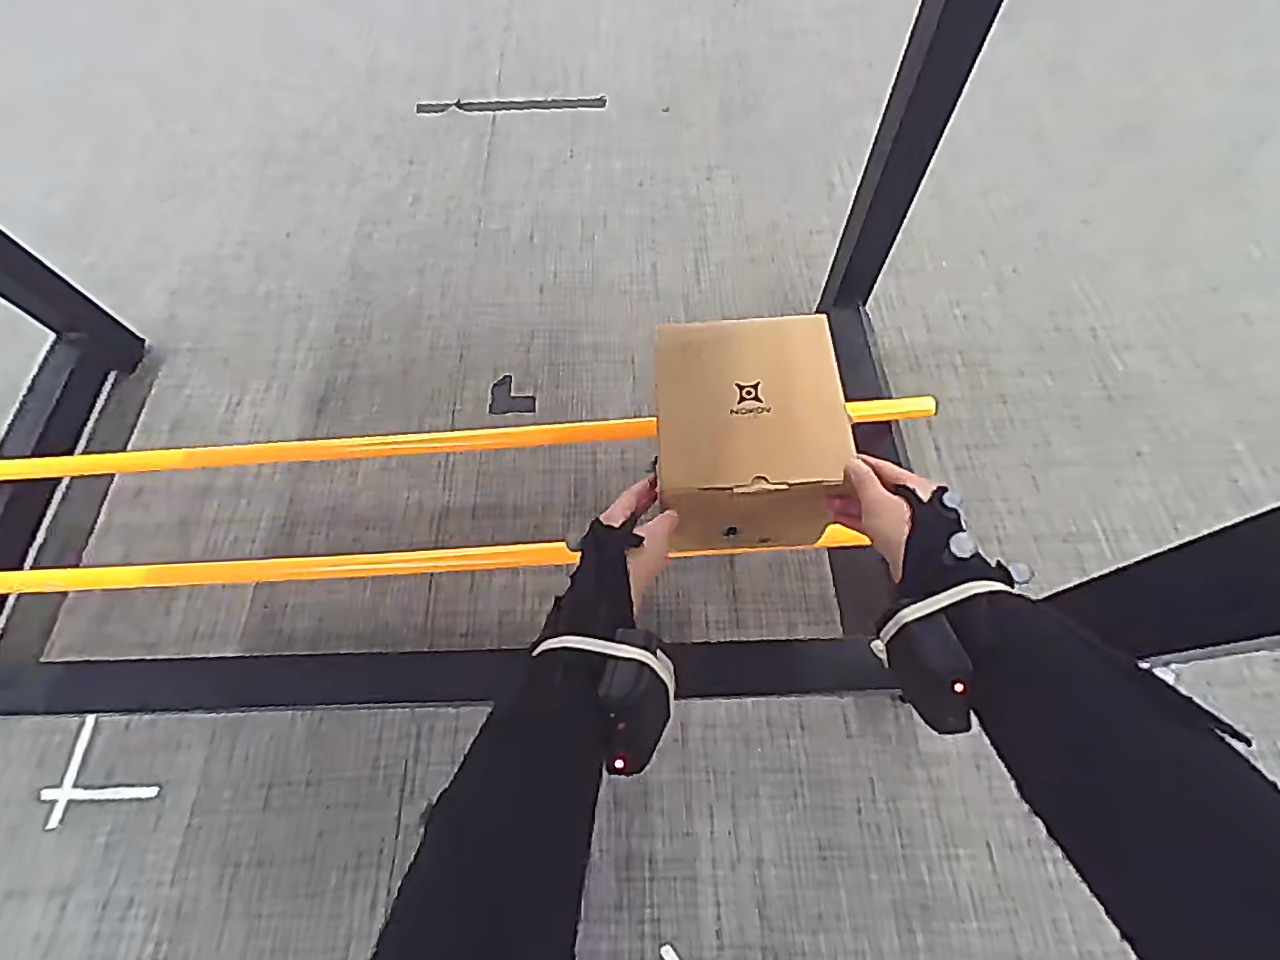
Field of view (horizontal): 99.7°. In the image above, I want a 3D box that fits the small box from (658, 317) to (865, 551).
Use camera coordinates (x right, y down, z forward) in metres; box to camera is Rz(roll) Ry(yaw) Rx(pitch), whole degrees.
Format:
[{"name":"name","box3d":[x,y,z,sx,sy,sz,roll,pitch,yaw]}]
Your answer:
[{"name":"small box","box3d":[0.103,-0.039,0.545,0.168,0.176,0.179,-3,65,2]}]
